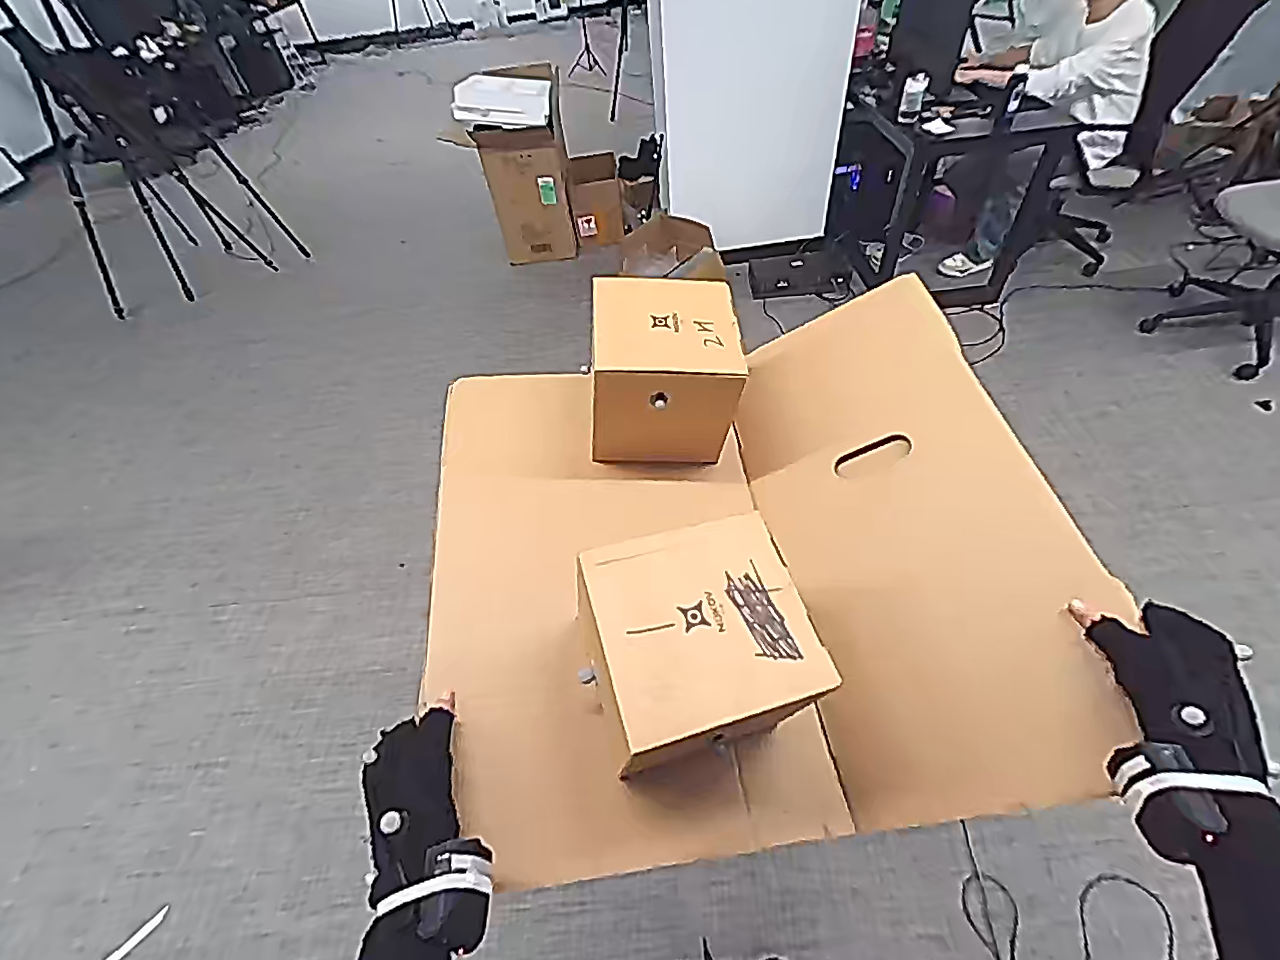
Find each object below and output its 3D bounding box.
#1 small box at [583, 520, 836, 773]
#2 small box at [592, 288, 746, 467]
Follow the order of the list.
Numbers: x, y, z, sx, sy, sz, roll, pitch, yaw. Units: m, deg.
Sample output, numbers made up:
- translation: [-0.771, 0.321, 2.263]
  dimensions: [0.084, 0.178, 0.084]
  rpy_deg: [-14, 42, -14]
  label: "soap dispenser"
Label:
- translation: [0.046, 0.163, 0.518]
  dimensions: [0.179, 0.176, 0.168]
  rpy_deg: [-12, 58, -13]
  label: "small box"
- translation: [0.026, -0.129, 0.714]
  dimensions: [0.179, 0.176, 0.168]
  rpy_deg: [1, 56, -6]
  label: "small box"
